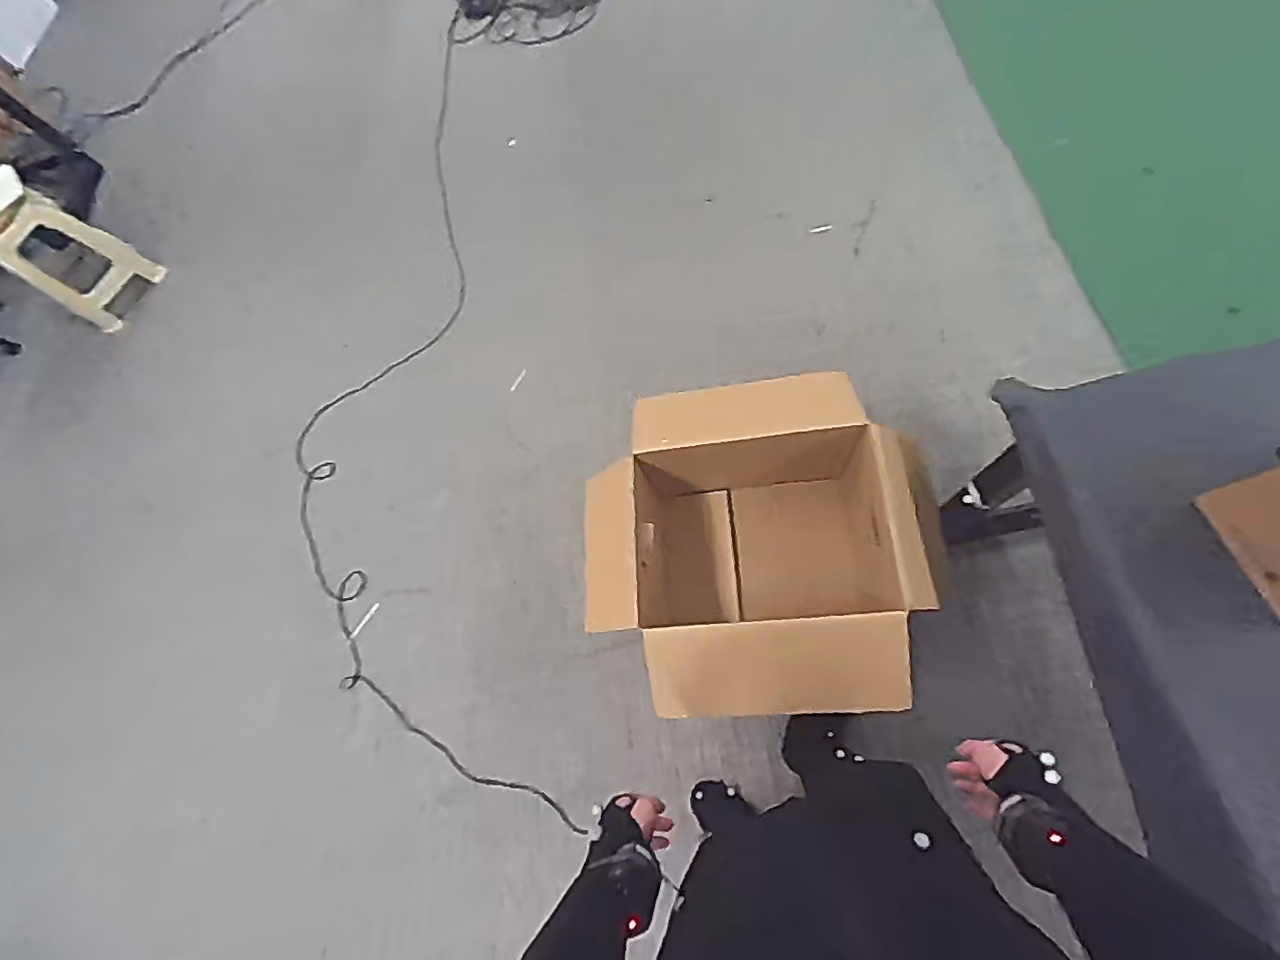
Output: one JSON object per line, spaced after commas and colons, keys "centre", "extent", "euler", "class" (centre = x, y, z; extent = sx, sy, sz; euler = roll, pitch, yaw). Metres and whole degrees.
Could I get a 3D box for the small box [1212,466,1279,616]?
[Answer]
{"centre": [0.757, 0.042, 0.546], "extent": [0.179, 0.176, 0.168], "euler": [-20, 70, 3], "class": "small box"}
